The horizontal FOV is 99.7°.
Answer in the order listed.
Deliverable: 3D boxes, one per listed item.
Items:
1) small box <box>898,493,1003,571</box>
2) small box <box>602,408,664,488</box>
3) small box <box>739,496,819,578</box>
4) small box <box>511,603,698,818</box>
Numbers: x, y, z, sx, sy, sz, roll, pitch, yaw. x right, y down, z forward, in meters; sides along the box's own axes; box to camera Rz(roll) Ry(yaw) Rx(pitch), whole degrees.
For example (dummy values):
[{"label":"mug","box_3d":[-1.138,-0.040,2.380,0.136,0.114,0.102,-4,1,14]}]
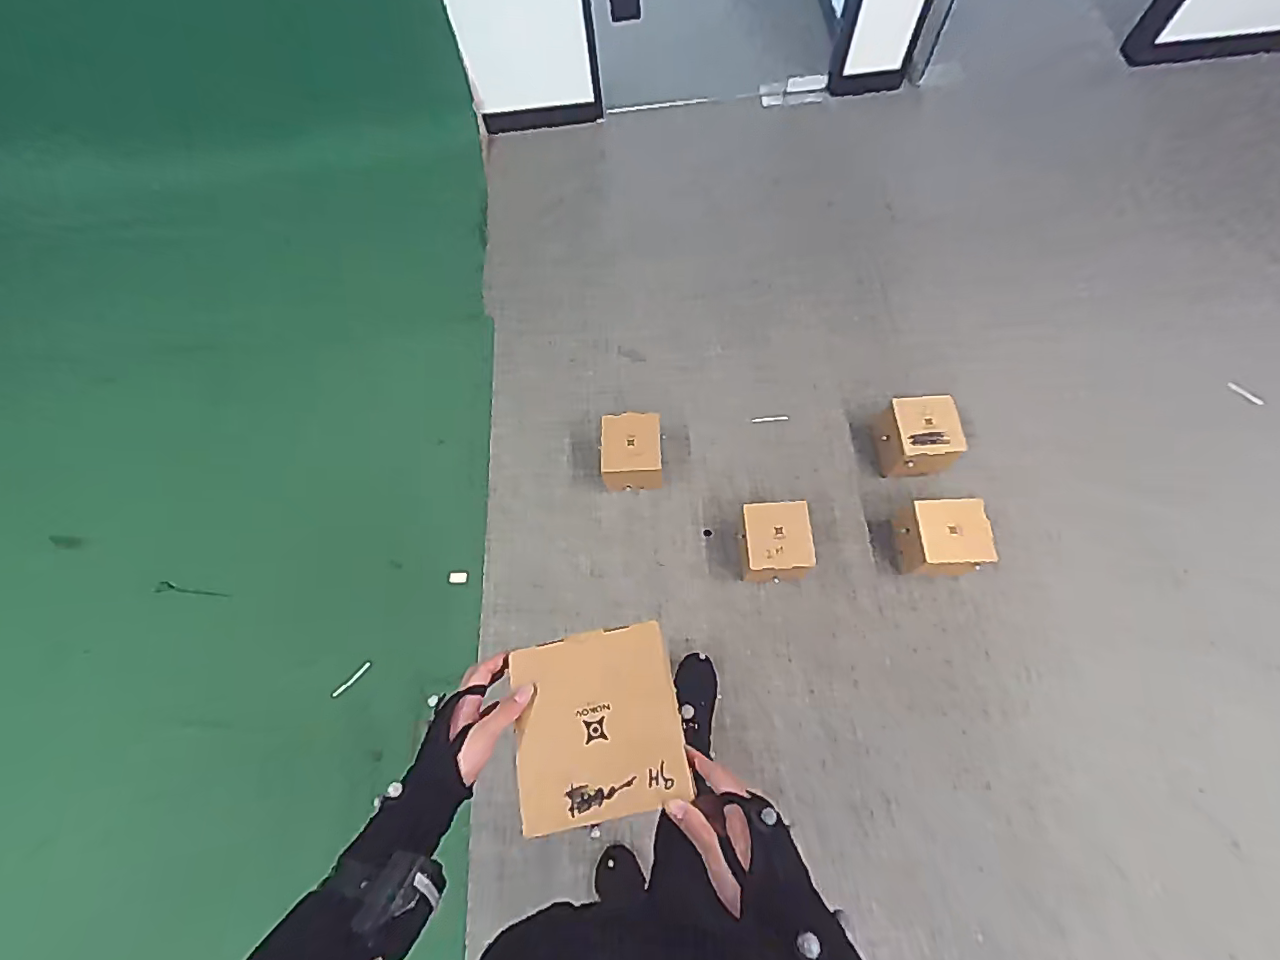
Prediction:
[{"label":"small box","box_3d":[0.793,0.140,1.408,0.179,0.176,0.168,-2,69,2]},{"label":"small box","box_3d":[-0.016,-0.089,1.553,0.168,0.176,0.179,-2,69,4]},{"label":"small box","box_3d":[0.359,0.154,1.430,0.168,0.176,0.179,-3,68,3]},{"label":"small box","box_3d":[-0.036,0.261,0.607,0.168,0.176,0.179,-13,60,-1]}]
